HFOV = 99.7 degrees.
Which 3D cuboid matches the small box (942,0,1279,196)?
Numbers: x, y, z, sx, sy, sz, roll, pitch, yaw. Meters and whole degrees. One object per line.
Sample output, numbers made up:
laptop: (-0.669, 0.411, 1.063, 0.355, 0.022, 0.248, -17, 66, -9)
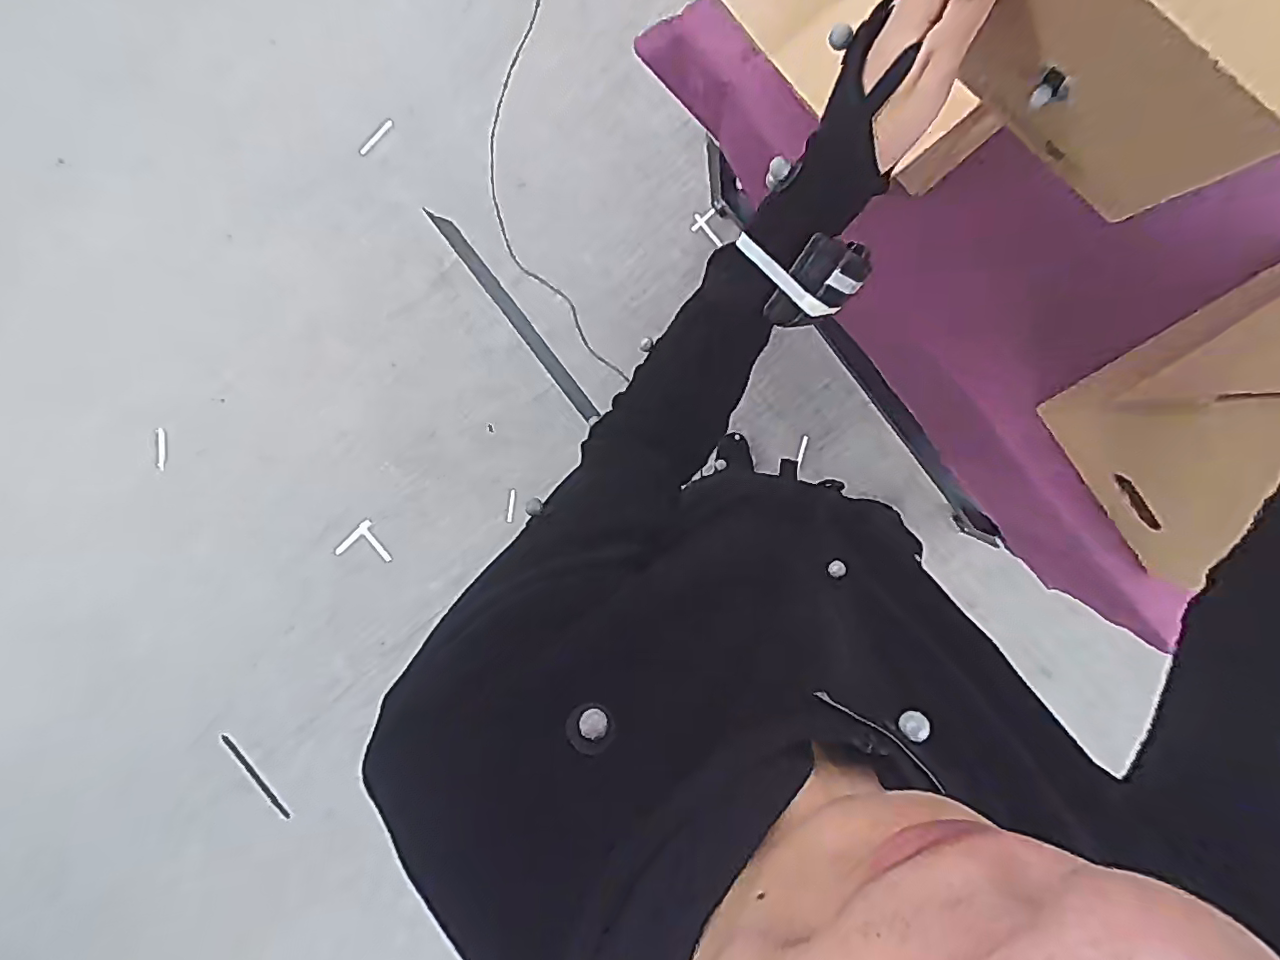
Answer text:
small box: (0.272, -0.272, 0.254, 0.168, 0.176, 0.179, 47, 114, 4)
